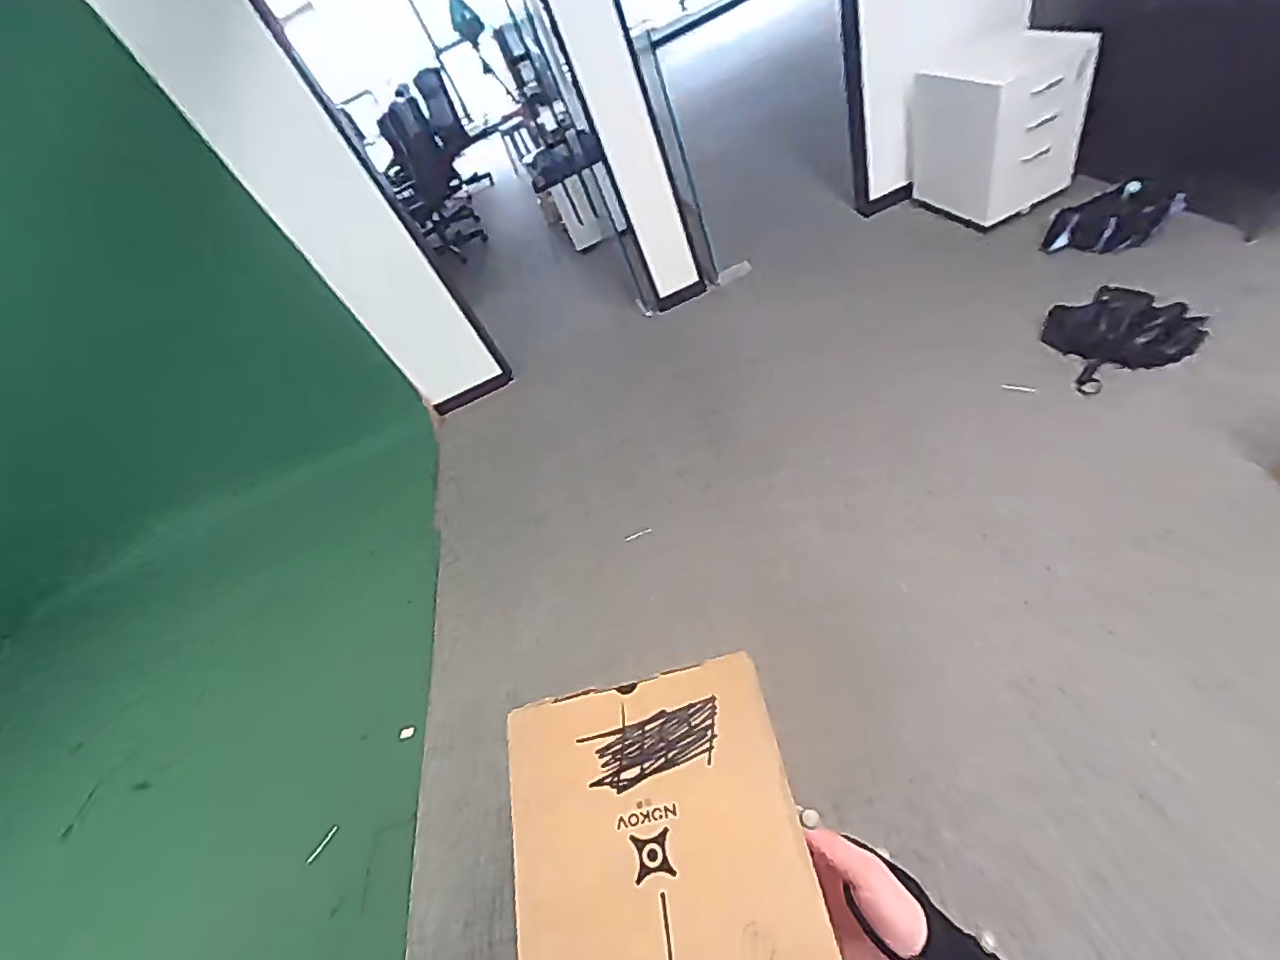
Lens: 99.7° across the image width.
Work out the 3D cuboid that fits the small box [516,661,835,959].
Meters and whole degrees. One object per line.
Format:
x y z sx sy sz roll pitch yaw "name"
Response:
0.023 0.249 0.377 0.168 0.176 0.179 -15 56 5 "small box"
